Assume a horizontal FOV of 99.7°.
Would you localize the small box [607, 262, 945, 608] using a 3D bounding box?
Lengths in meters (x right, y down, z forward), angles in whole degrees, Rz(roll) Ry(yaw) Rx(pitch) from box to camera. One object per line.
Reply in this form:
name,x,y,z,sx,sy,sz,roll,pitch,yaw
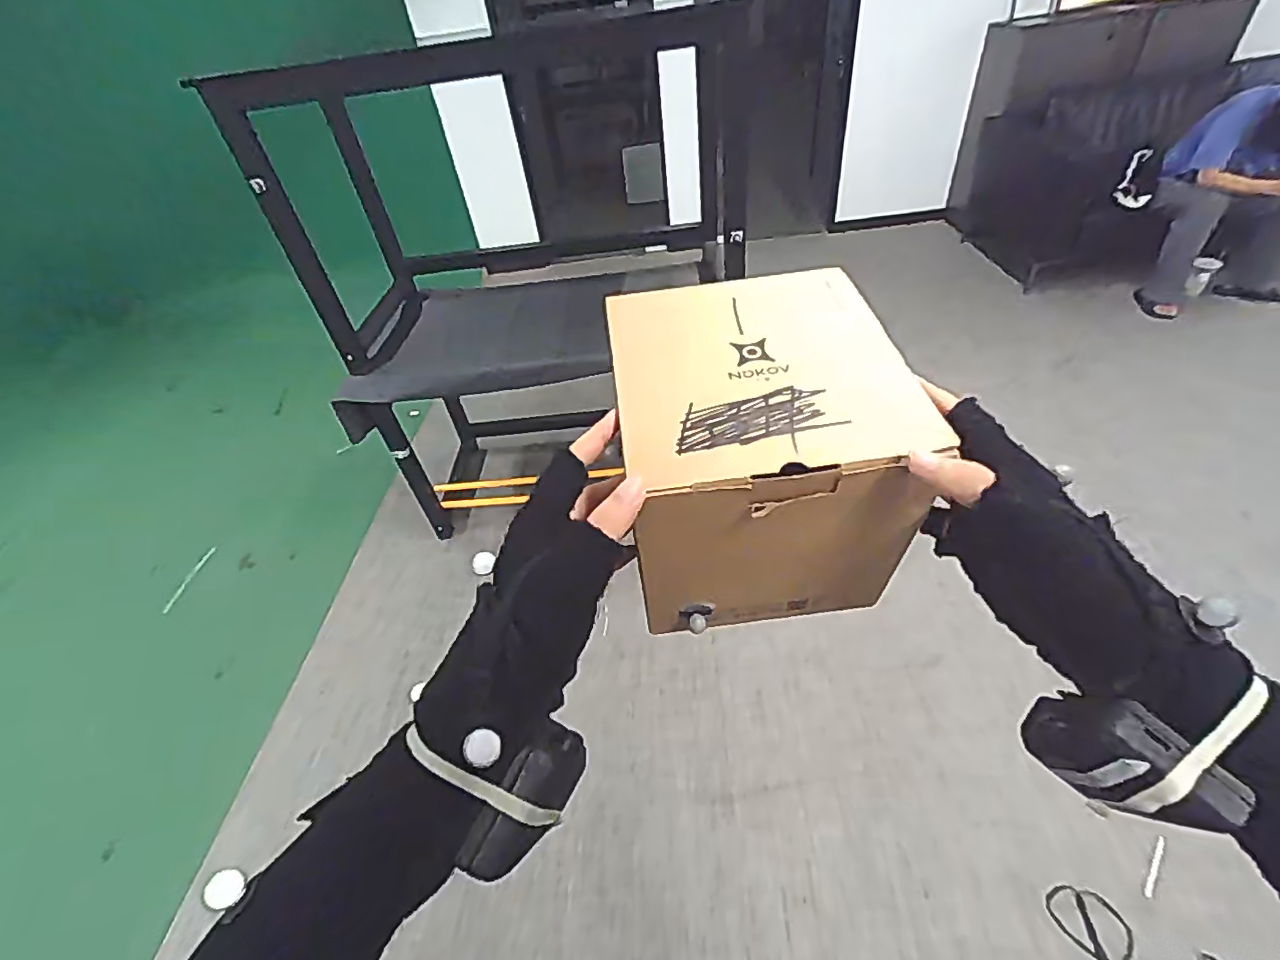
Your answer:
small box,0.072,-0.024,0.381,0.168,0.176,0.179,-7,49,0
